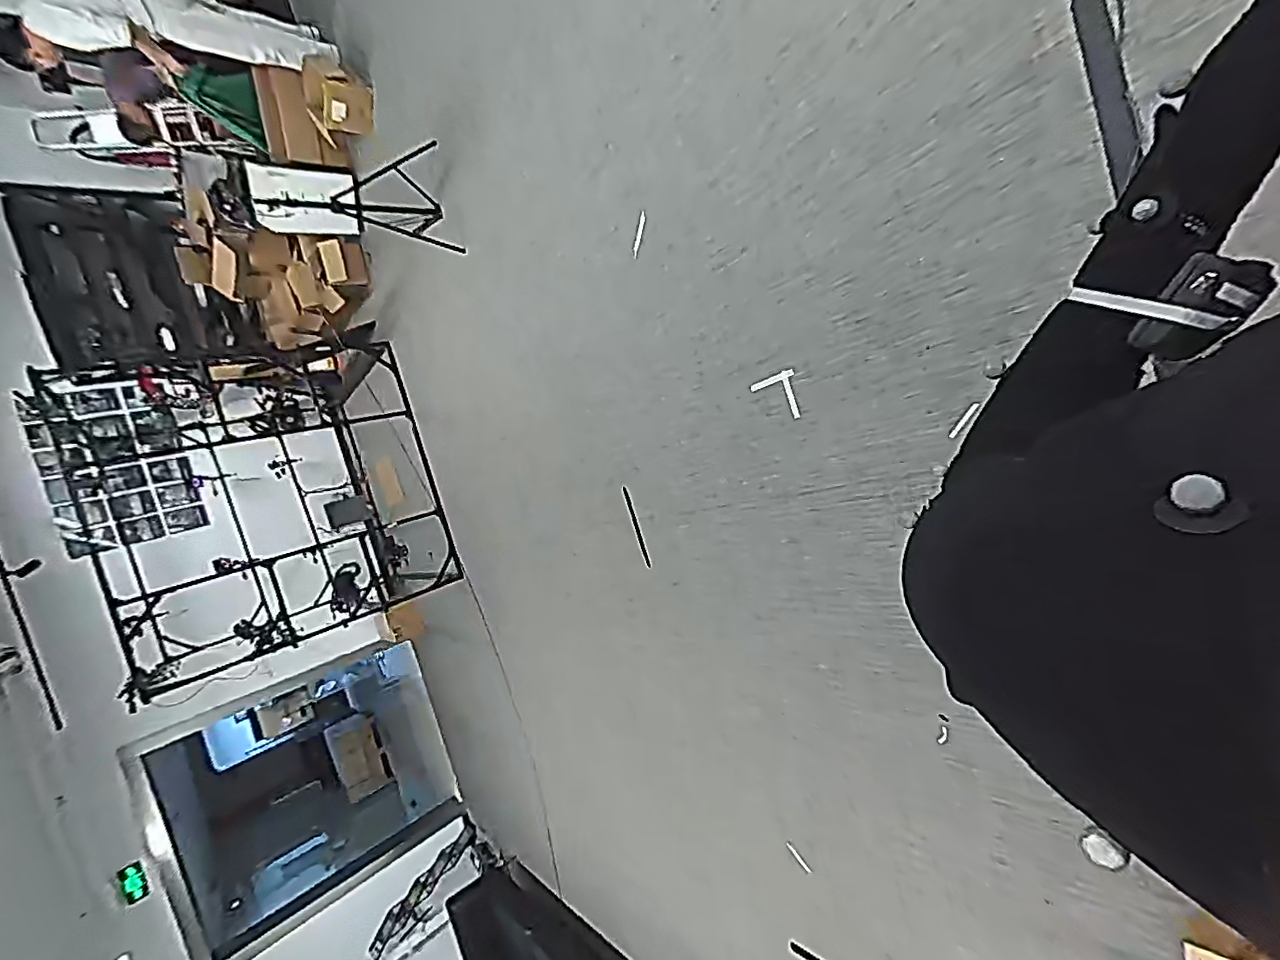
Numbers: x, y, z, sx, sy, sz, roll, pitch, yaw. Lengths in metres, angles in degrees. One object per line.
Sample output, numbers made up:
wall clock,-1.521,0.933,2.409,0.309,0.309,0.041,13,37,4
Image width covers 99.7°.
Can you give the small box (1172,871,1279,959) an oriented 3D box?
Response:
small box,0.982,0.786,0.857,0.168,0.176,0.179,-8,98,52
